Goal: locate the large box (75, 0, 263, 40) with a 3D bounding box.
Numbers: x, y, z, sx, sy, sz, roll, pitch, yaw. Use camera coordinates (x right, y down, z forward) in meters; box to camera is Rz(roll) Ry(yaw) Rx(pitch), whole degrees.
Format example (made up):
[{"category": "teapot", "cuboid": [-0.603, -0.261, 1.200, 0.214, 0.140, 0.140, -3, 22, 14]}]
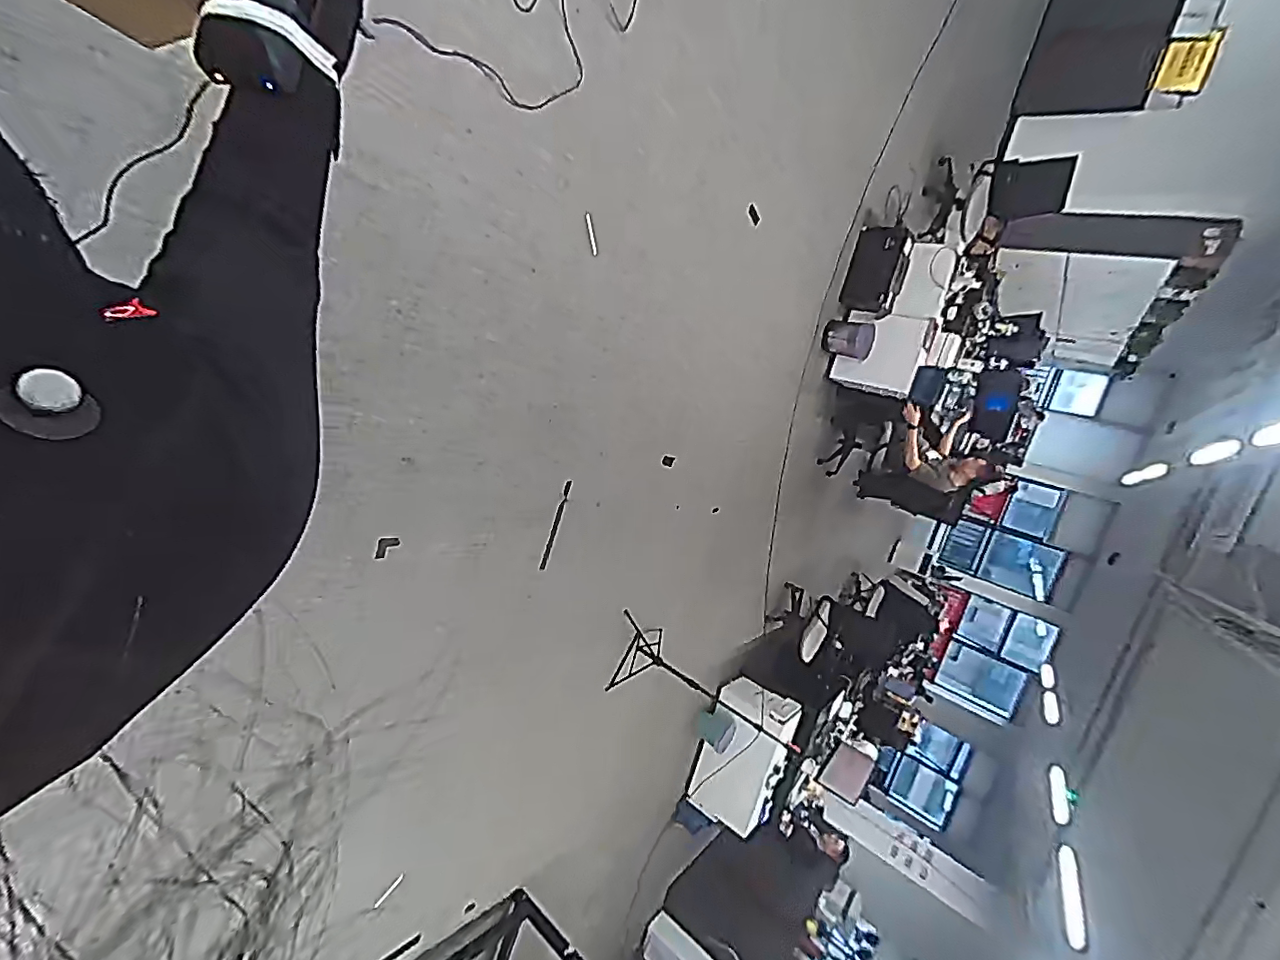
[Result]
[{"category": "large box", "cuboid": [-0.456, -0.559, 0.301, 0.408, 0.320, 0.320, 11, 104, -56]}]
